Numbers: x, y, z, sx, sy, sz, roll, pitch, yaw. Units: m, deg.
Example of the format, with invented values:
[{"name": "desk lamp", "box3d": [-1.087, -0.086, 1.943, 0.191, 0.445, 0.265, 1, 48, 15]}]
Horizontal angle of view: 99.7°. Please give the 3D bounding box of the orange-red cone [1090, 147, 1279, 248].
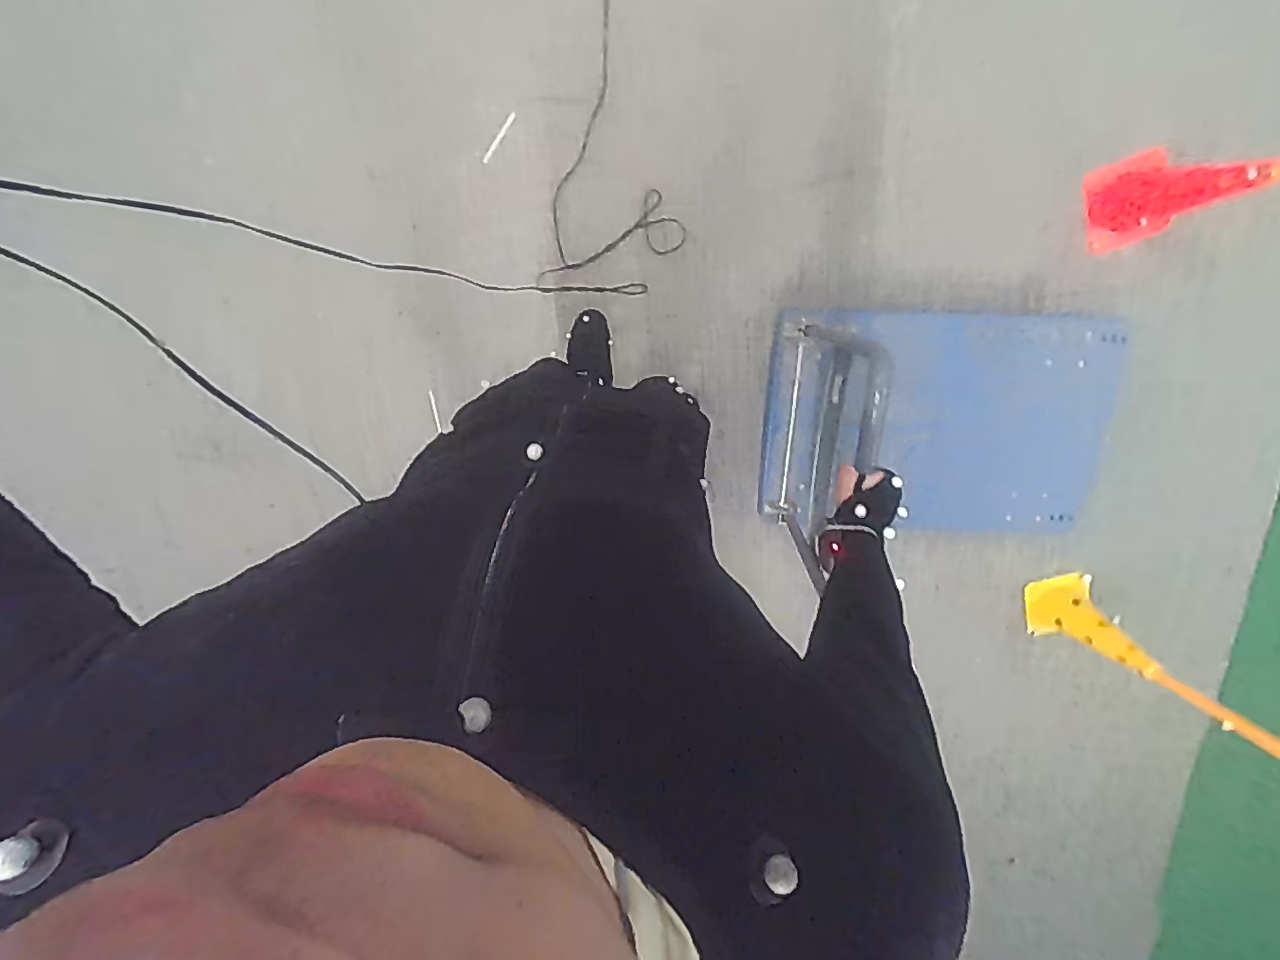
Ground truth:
[{"name": "orange-red cone", "box3d": [1.257, -0.668, 1.221, 0.198, 0.360, 0.199, -19, 106, 6]}]
